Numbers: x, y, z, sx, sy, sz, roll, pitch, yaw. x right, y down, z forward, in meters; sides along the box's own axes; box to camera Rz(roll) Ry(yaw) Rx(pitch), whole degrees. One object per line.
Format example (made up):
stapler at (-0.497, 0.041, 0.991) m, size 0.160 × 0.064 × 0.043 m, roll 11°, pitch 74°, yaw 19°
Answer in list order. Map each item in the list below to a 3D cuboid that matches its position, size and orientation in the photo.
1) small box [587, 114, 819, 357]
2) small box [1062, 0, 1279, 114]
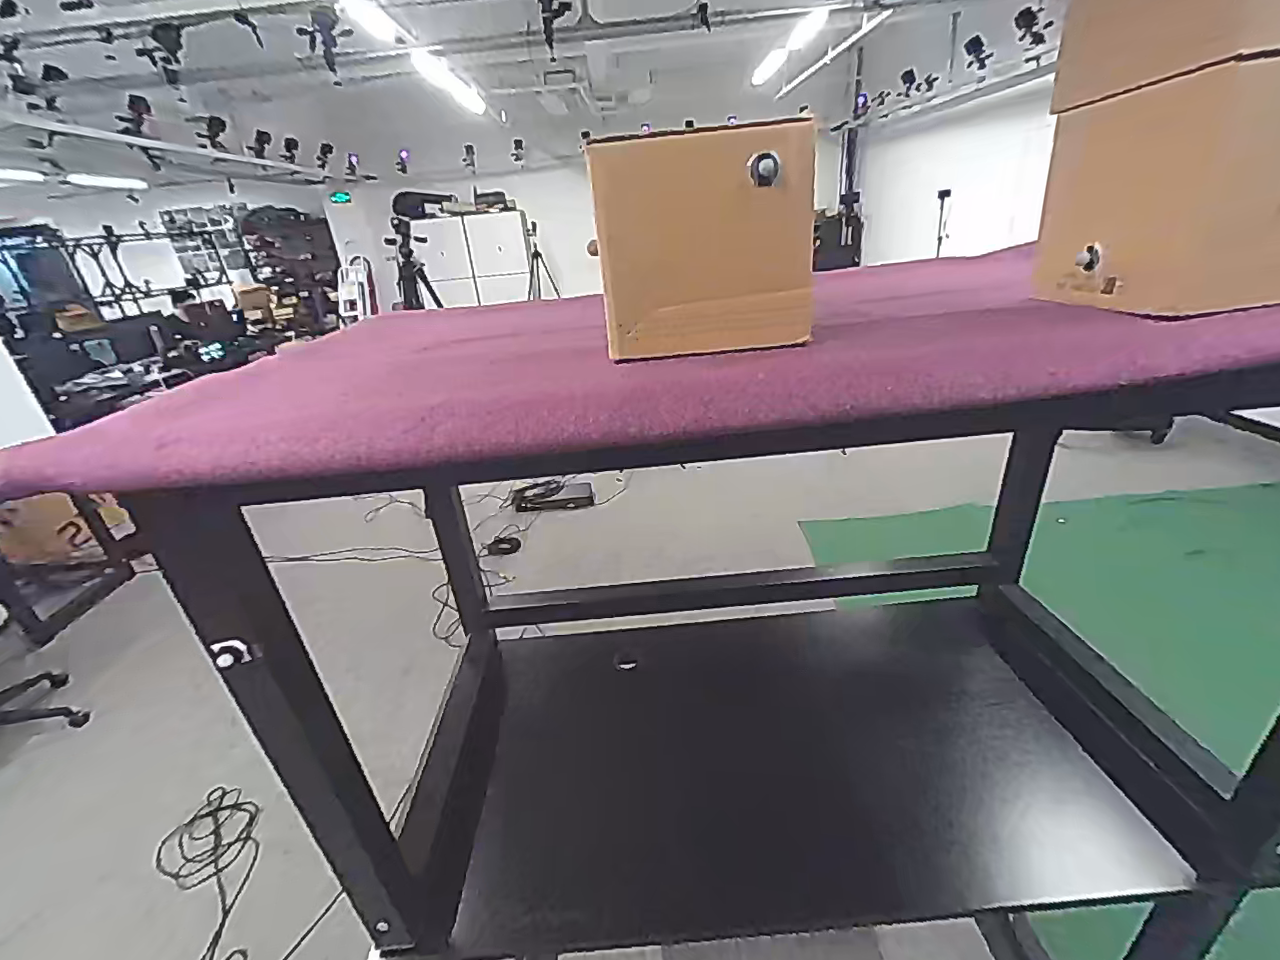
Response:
small box at (0.054, -0.214, 0.499) m, size 0.179 × 0.176 × 0.168 m, roll -4°, pitch 24°, yaw 2°
small box at (0.456, -0.388, 0.387) m, size 0.168 × 0.176 × 0.179 m, roll -6°, pitch 24°, yaw 3°
